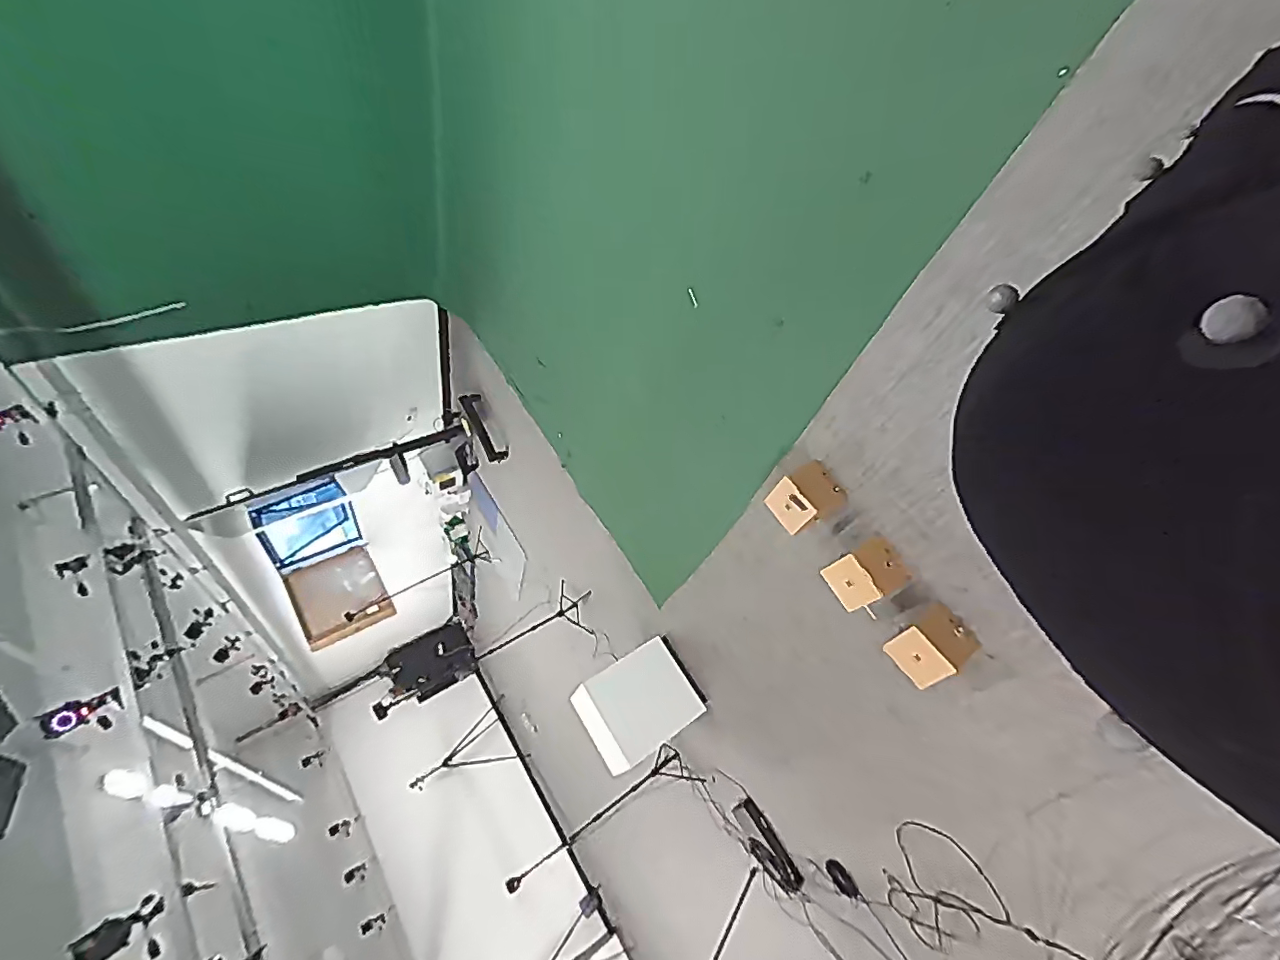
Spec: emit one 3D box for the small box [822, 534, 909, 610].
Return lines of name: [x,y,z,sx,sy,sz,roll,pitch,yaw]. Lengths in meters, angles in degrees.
small box: [0.760,0.309,1.820,0.168,0.176,0.179,57,147,16]

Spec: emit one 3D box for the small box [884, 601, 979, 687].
small box: [0.922,0.515,1.706,0.168,0.176,0.179,50,144,23]

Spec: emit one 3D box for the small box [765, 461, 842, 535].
small box: [0.587,0.060,1.921,0.168,0.176,0.179,54,148,20]
